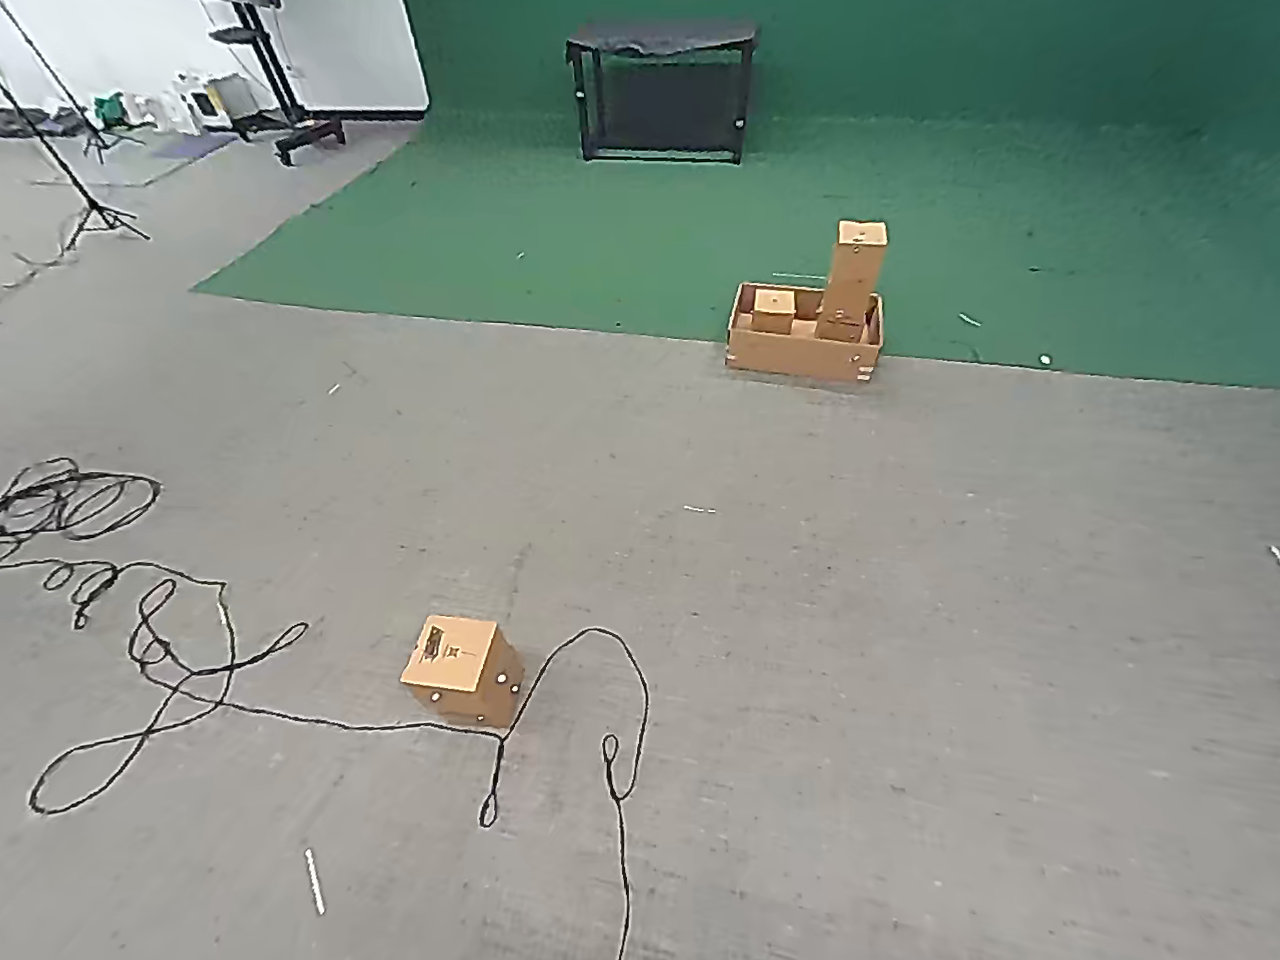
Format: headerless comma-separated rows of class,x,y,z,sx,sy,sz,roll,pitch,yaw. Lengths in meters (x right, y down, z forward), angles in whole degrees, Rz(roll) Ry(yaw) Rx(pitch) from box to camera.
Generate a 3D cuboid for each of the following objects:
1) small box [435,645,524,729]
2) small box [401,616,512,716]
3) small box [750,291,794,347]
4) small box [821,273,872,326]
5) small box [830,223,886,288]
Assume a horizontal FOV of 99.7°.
small box,-0.417,0.540,1.418,0.179,0.176,0.168,1,48,6
small box,-0.424,0.445,1.283,0.179,0.176,0.168,5,49,7
small box,0.581,-0.711,2.387,0.168,0.176,0.179,6,51,8
small box,0.836,-0.751,2.189,0.168,0.176,0.179,10,52,14
small box,0.826,-0.857,2.064,0.168,0.176,0.179,7,50,12
